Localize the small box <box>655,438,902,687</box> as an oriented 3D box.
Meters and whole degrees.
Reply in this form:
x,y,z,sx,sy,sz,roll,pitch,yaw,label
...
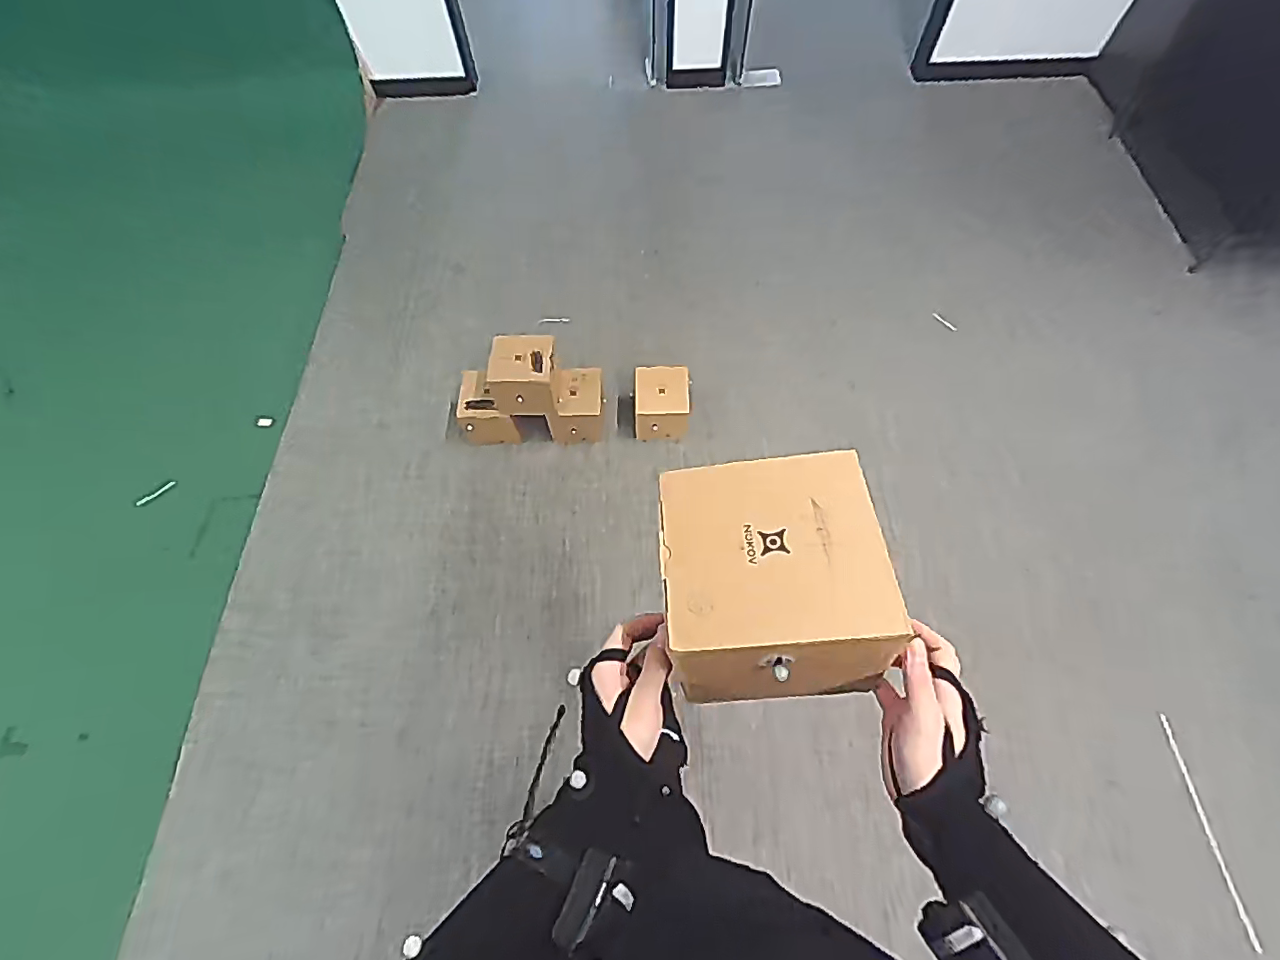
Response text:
x,y,z,sx,sy,sz,roll,pitch,yaw,label
0.115,0.085,0.502,0.179,0.176,0.168,-7,55,7,small box

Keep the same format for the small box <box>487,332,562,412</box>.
x,y,z,sx,sy,sz,roll,pitch,yaw,label
-0.328,-0.311,1.577,0.179,0.176,0.168,0,64,2,small box

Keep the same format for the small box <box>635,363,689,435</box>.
x,y,z,sx,sy,sz,roll,pitch,yaw,label
0.069,-0.253,1.725,0.168,0.176,0.179,-1,64,1,small box
